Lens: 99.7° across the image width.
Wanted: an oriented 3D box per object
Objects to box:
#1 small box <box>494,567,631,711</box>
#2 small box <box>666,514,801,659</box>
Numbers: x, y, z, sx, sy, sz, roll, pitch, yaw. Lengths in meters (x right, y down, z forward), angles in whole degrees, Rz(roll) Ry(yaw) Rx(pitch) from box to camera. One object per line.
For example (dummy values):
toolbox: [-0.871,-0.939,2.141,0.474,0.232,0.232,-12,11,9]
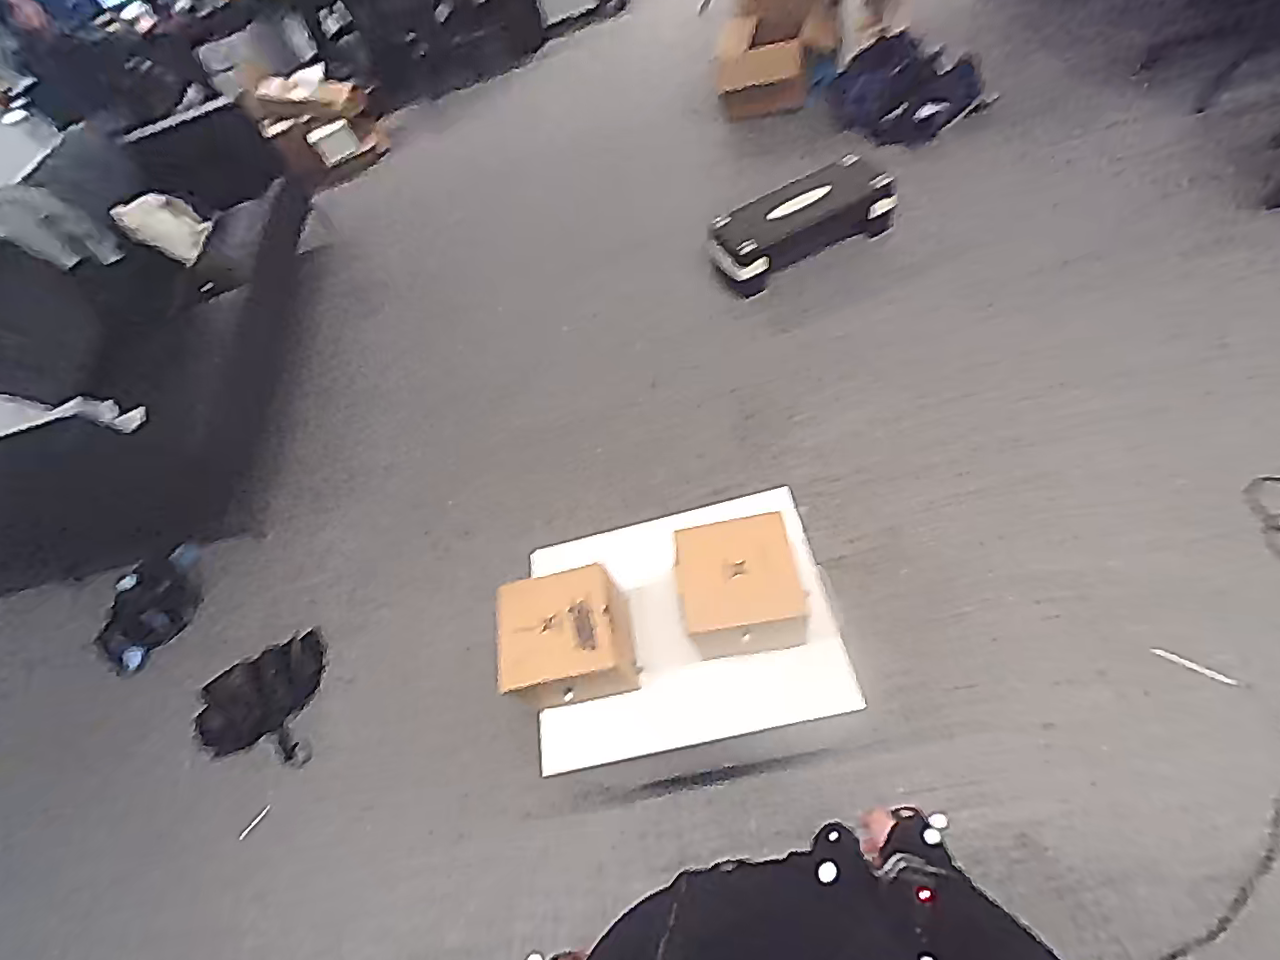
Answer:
small box: [-0.119,0.262,0.874,0.179,0.176,0.168,-15,56,7]
small box: [0.150,0.176,0.856,0.179,0.176,0.168,-11,58,8]
